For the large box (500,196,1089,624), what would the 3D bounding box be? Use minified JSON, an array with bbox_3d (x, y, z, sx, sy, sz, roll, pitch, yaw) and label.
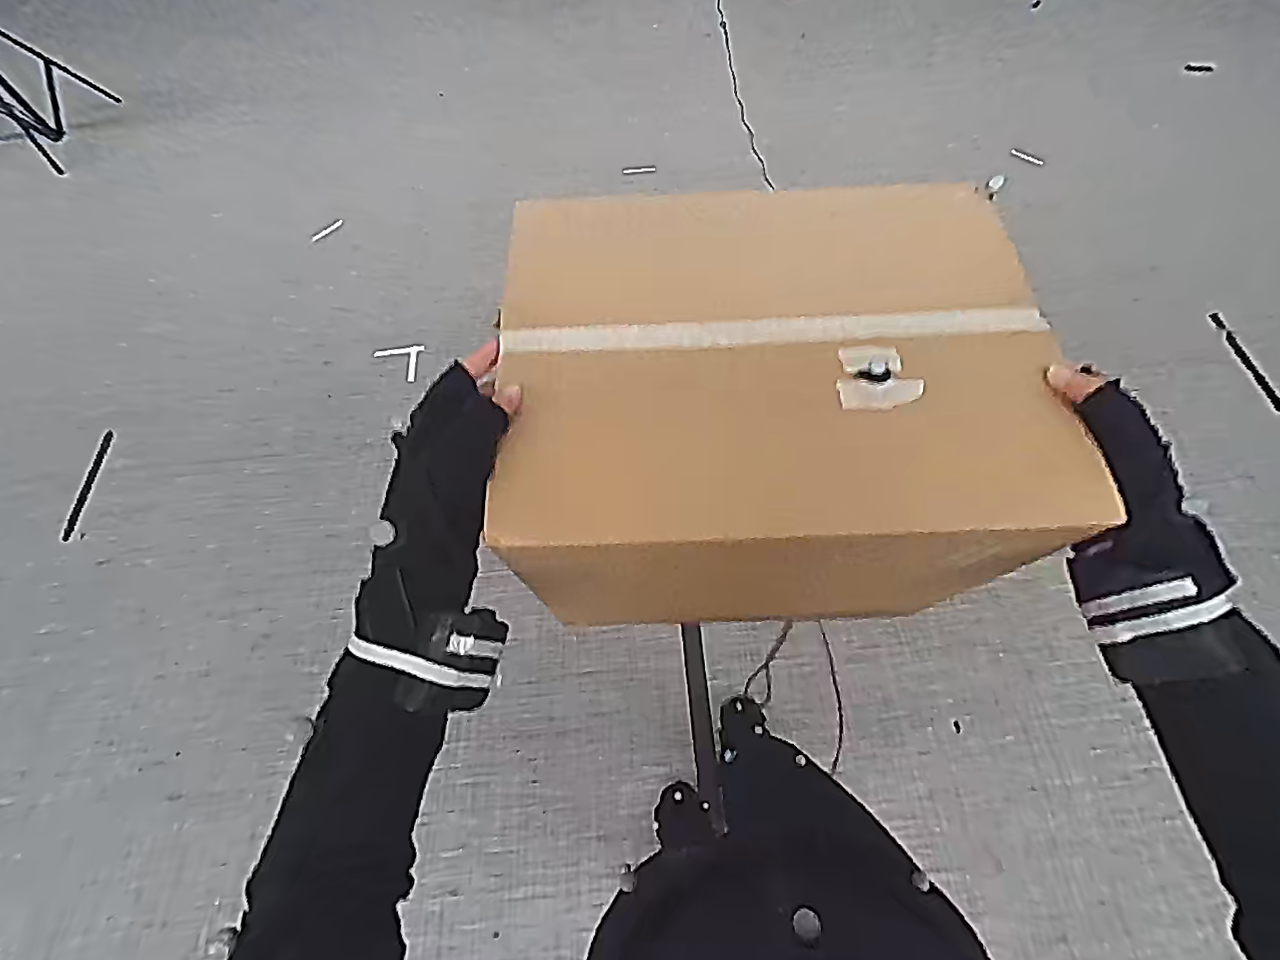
[{"bbox_3d":[0.098,-0.044,0.555,0.408,0.320,0.320,-2,65,0],"label":"large box"}]
